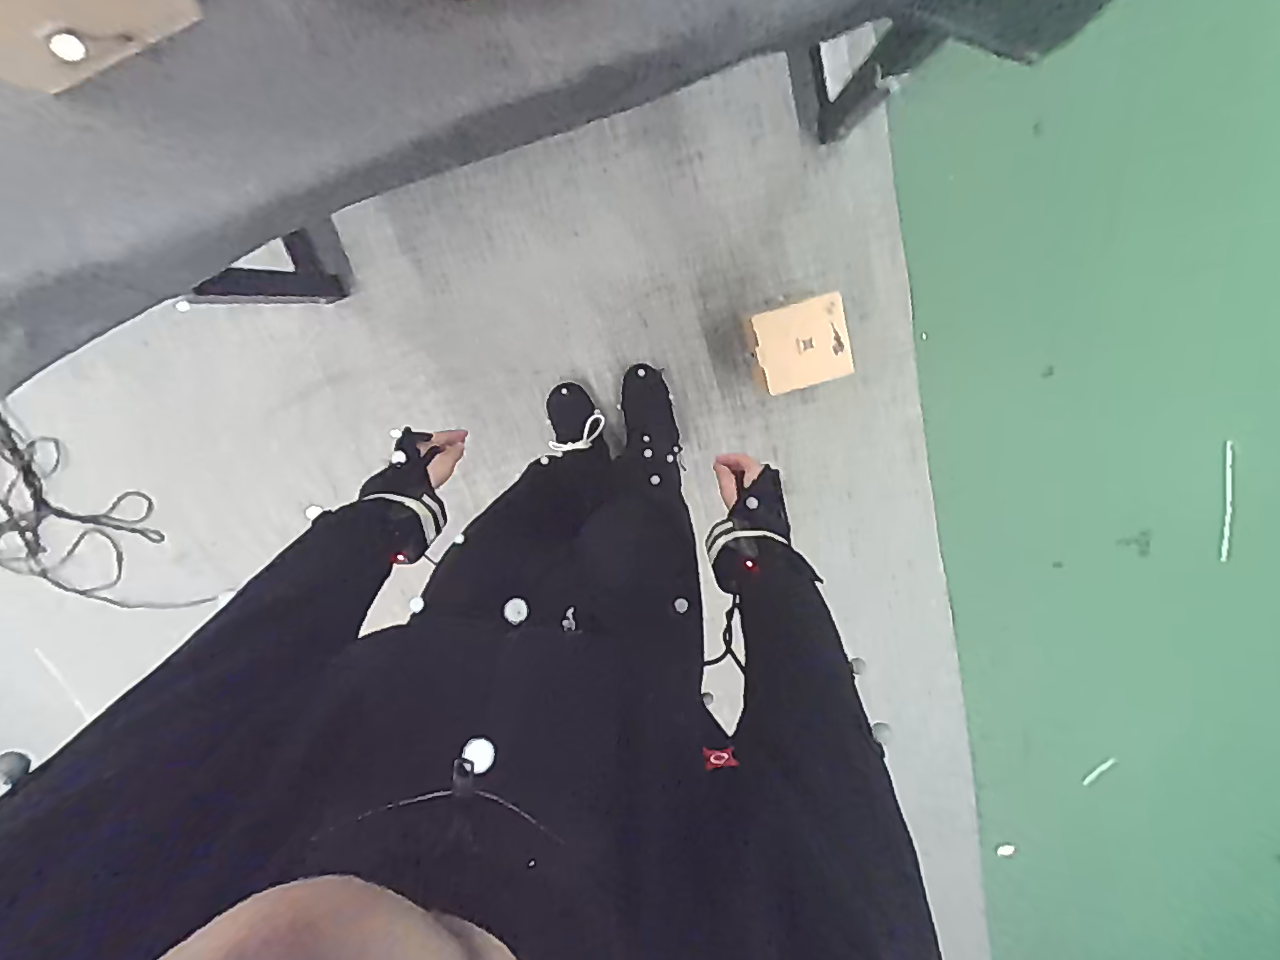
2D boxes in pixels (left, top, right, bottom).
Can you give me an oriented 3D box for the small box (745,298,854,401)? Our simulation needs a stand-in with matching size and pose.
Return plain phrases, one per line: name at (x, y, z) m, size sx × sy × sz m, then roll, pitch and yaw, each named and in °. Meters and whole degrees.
small box at (0.326, -0.274, 1.142) m, size 0.179 × 0.176 × 0.168 m, roll -15°, pitch 104°, yaw 7°
